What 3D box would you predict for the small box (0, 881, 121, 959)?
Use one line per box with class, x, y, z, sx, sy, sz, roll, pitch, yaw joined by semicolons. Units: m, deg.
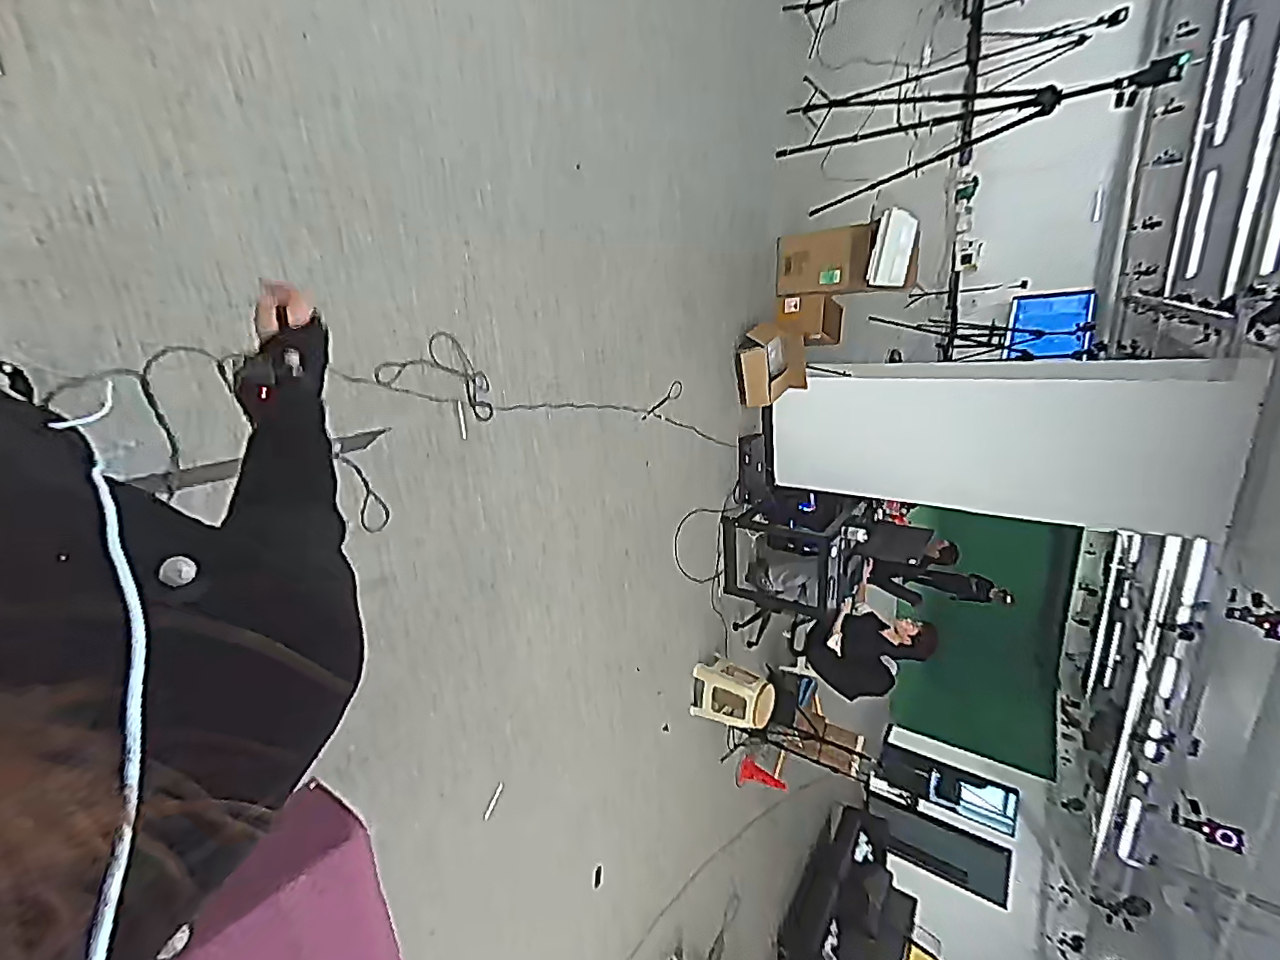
small box;-1.191;0.974;1.087;0.179;0.176;0.168;-27;118;-48
